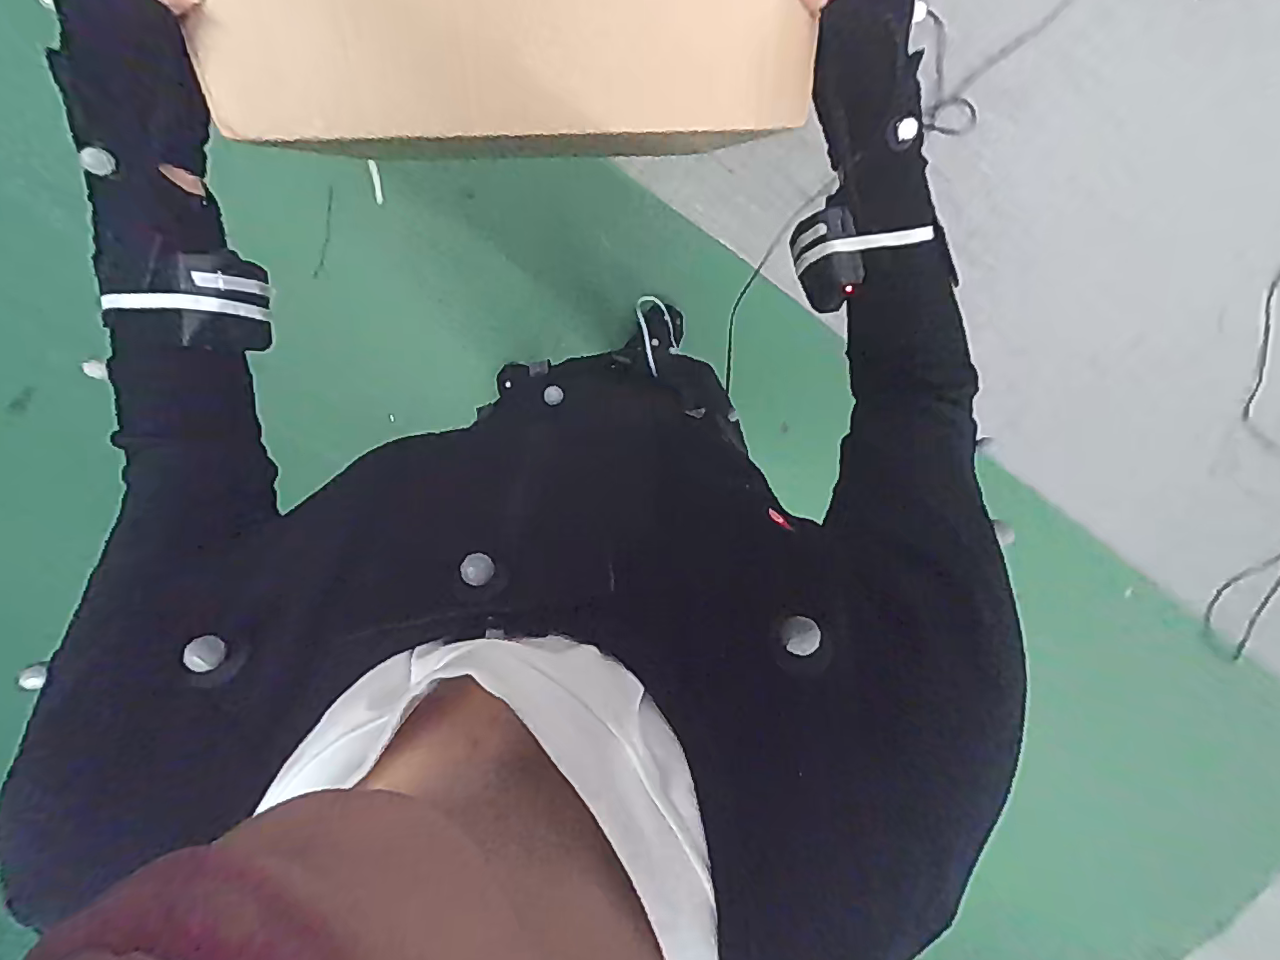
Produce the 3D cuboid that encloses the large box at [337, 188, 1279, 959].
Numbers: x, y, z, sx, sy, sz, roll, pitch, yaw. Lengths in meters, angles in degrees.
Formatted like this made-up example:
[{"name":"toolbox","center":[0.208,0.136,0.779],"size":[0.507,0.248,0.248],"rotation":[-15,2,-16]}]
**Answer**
[{"name":"large box","center":[0.121,0.106,0.329],"size":[0.320,0.320,0.408],"rotation":[8,70,28]}]
